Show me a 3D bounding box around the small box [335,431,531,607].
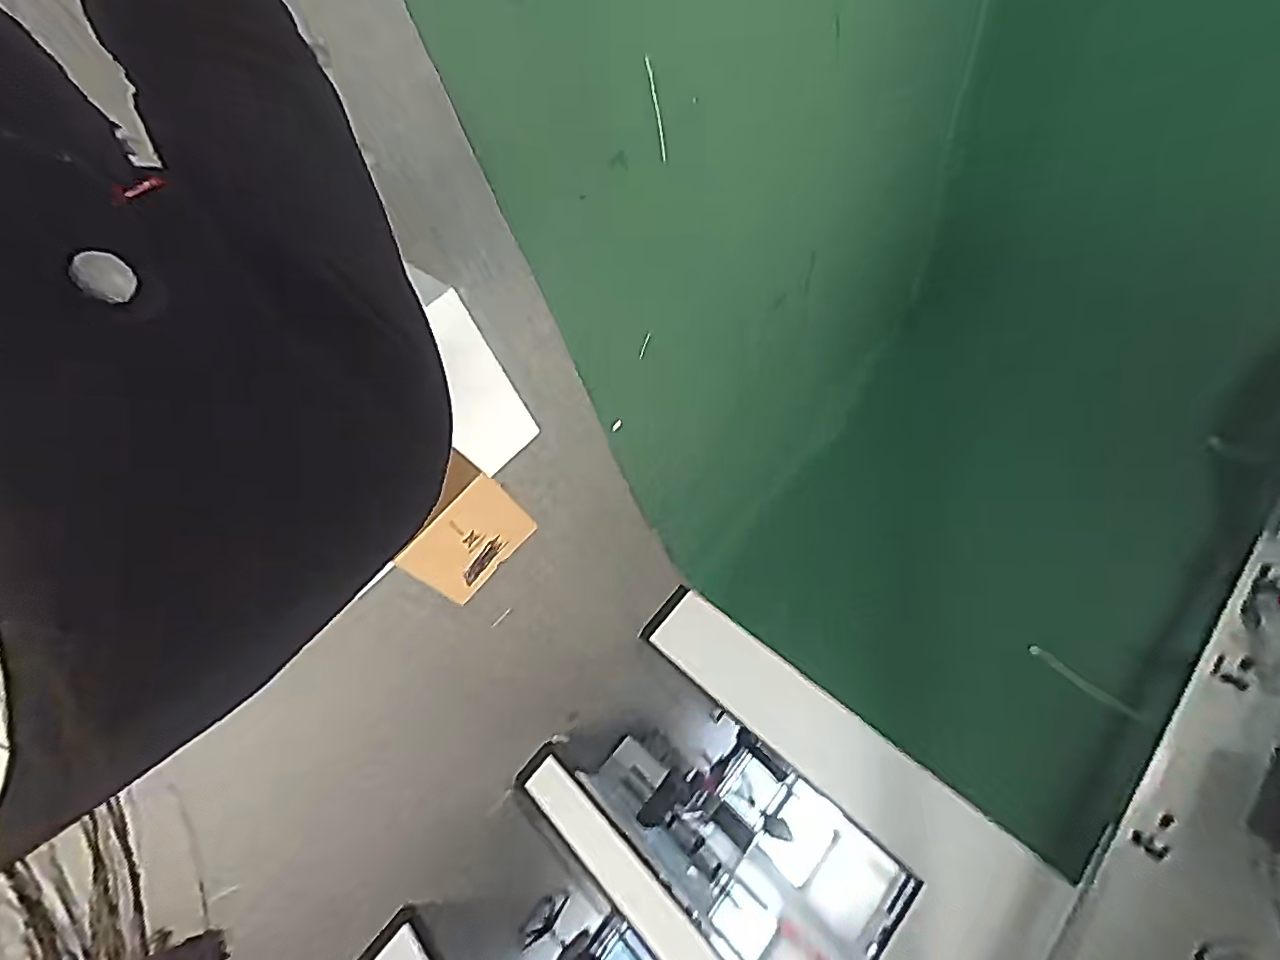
[{"bbox_3d":[-0.303,0.056,0.804,0.168,0.176,0.179,-49,150,-11],"label":"small box"}]
